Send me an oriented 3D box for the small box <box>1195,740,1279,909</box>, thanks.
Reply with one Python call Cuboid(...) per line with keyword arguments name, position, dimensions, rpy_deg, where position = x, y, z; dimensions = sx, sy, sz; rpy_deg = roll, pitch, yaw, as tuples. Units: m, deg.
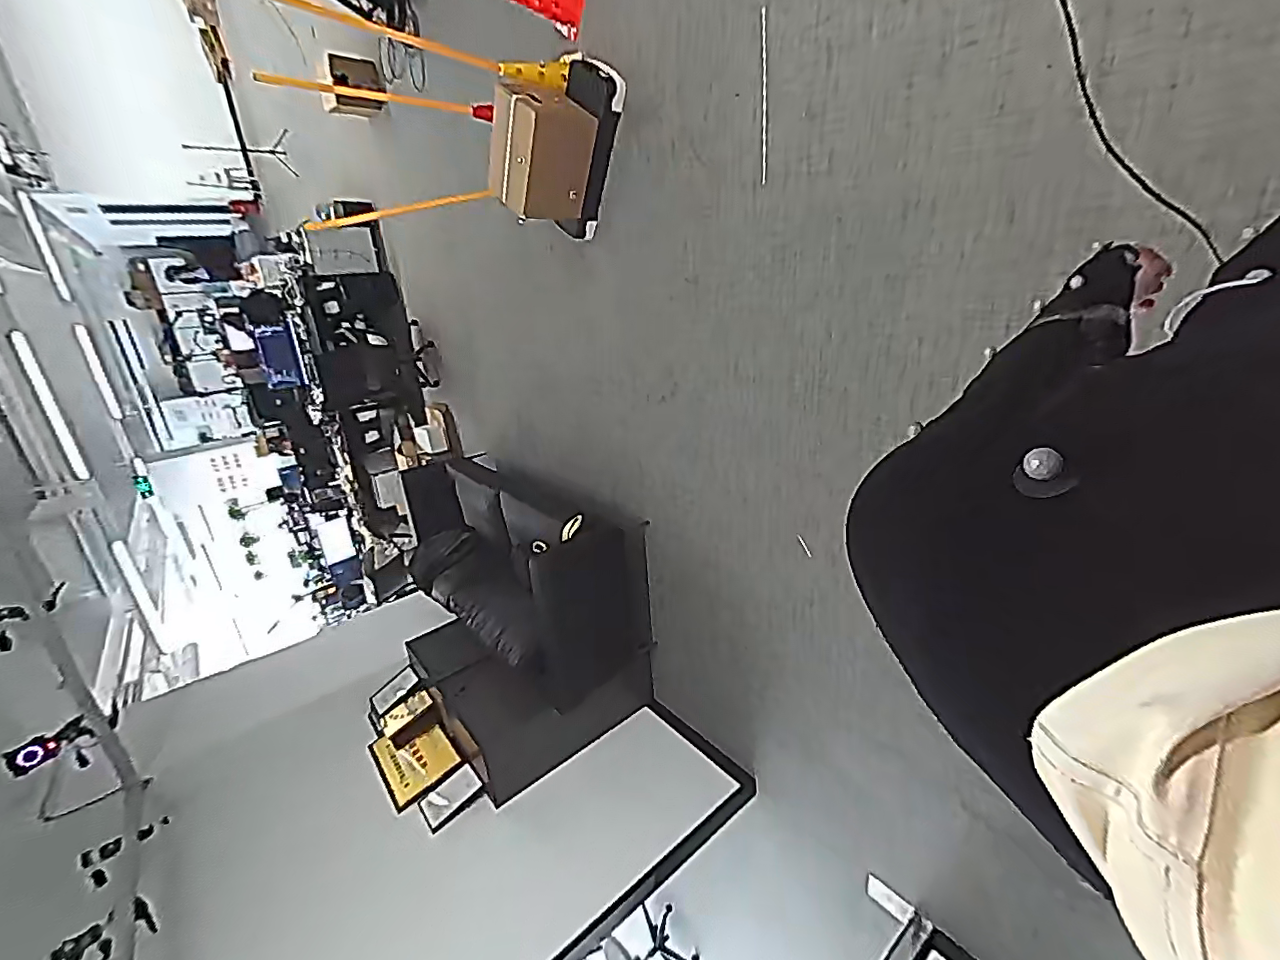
Cuboid(name="small box", position=(1.056, 0.571, 0.875), dimensions=(0.168, 0.176, 0.179), rpy_deg=(24, 123, 47))
